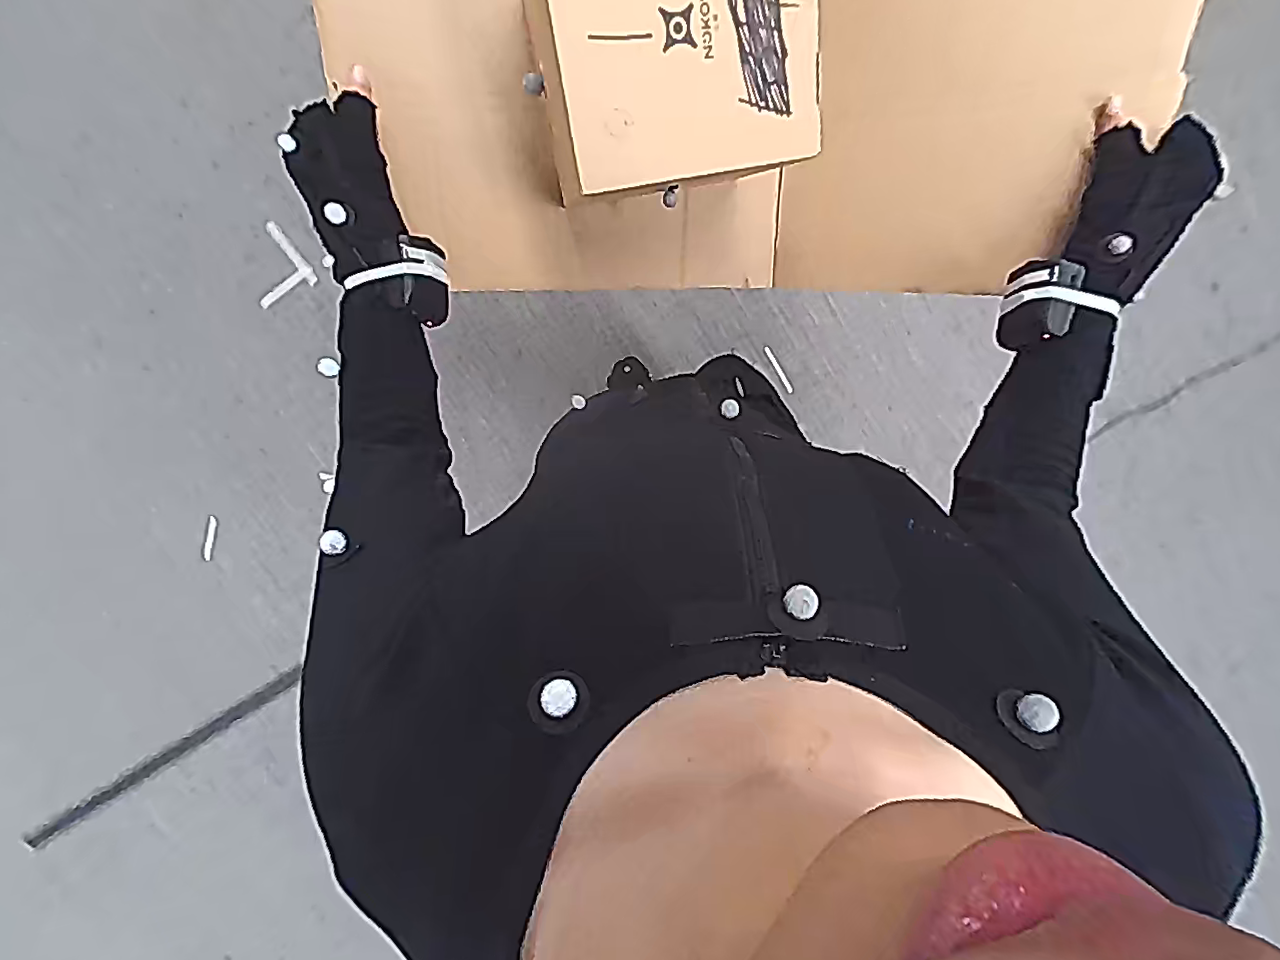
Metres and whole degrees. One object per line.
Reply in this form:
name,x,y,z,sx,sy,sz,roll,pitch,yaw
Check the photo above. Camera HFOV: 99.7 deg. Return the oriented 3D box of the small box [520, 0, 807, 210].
small box,0.010,-0.318,0.423,0.179,0.176,0.168,-14,115,-6
